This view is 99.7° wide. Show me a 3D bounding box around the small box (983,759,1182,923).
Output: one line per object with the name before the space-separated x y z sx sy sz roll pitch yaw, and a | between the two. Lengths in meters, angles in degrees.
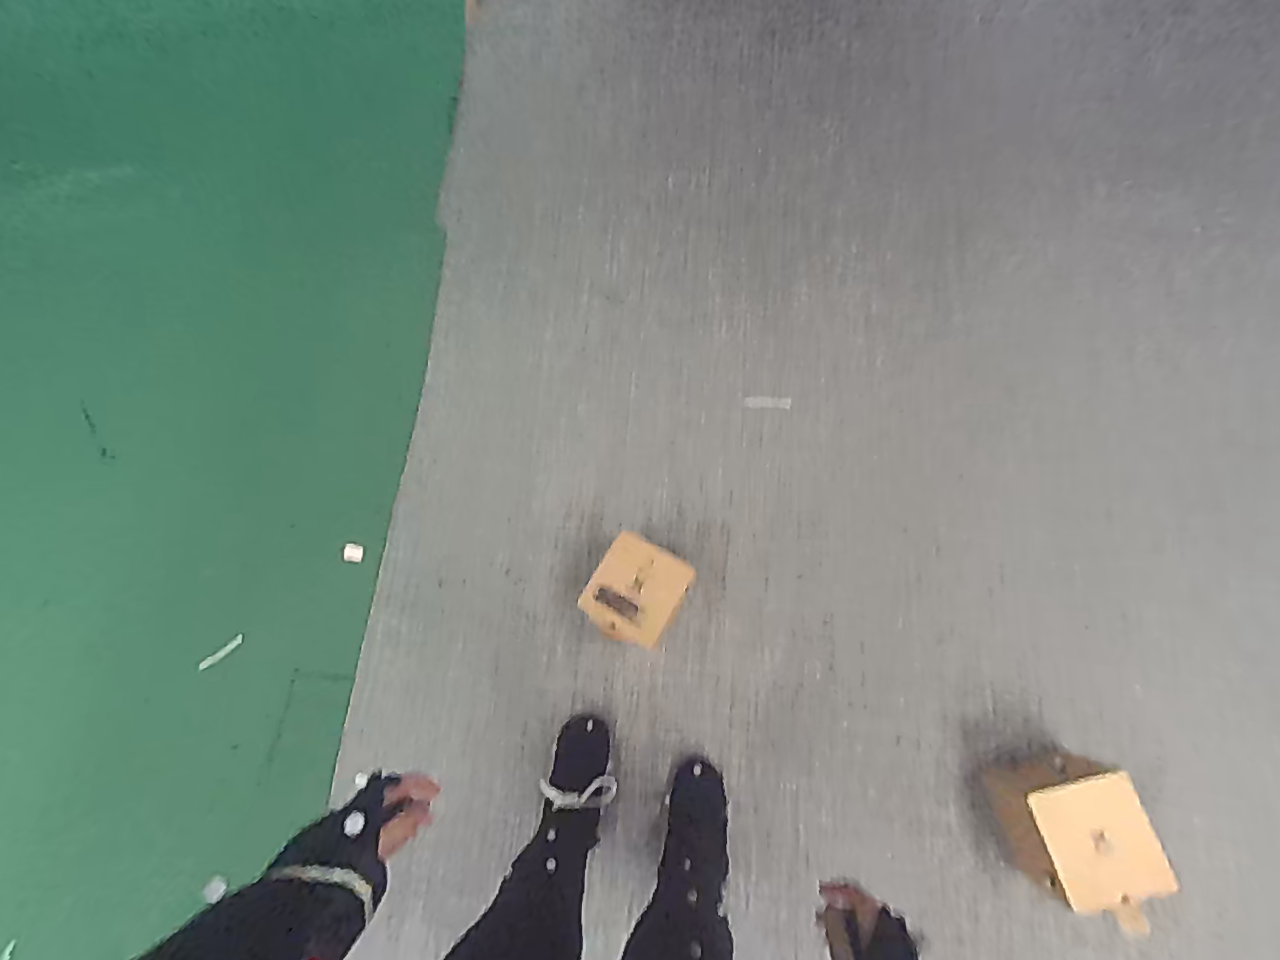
small box | 0.735 0.598 0.925 0.168 0.176 0.179 -16 75 2
